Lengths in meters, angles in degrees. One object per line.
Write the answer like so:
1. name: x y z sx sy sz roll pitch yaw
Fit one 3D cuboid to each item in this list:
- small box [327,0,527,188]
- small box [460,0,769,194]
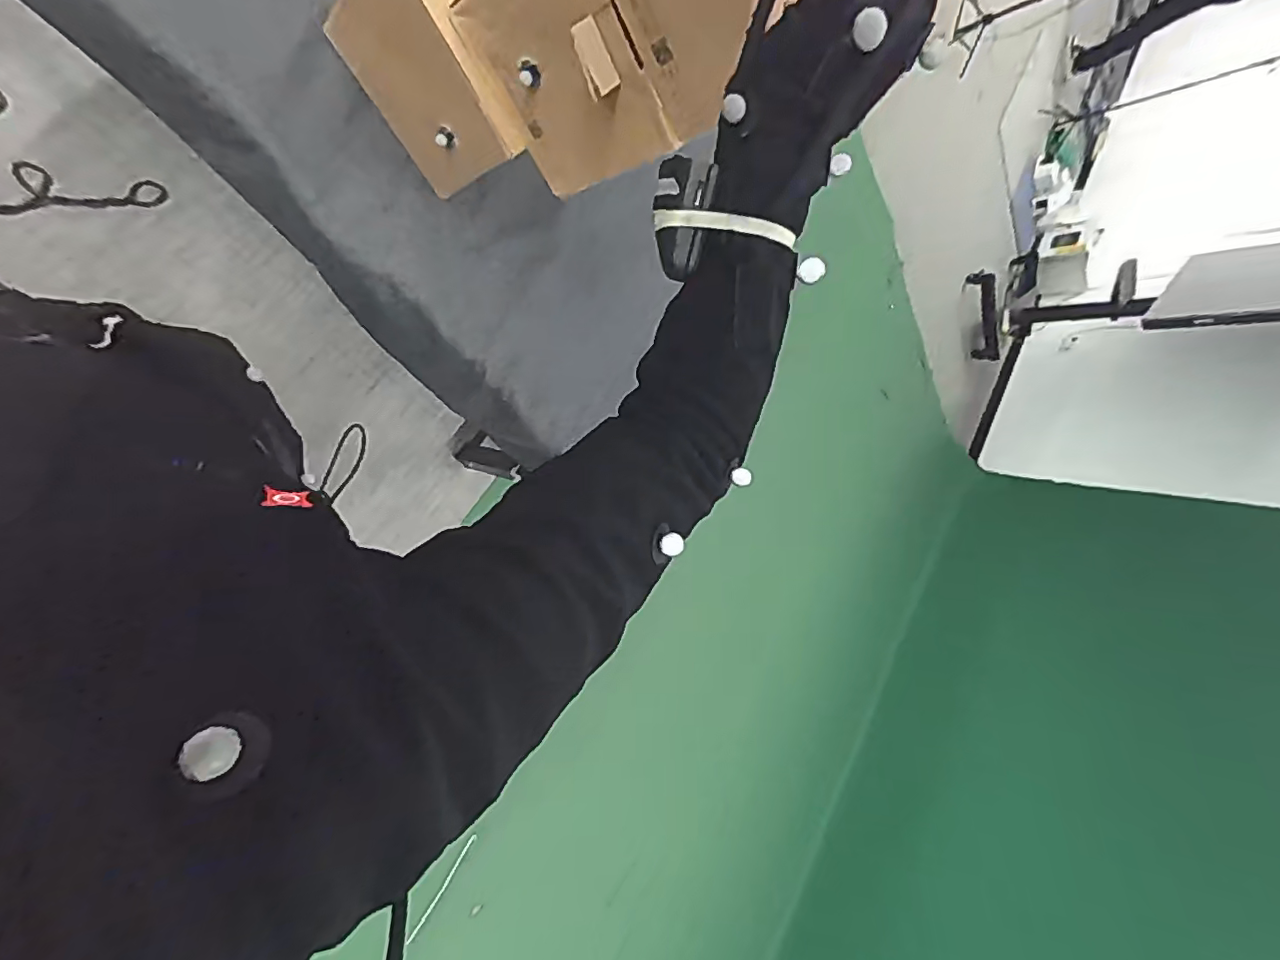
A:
1. small box: -0.171 -0.425 0.547 0.168 0.176 0.179 -53 128 -24
2. small box: -0.020 -0.387 0.474 0.179 0.176 0.168 -54 130 -22
